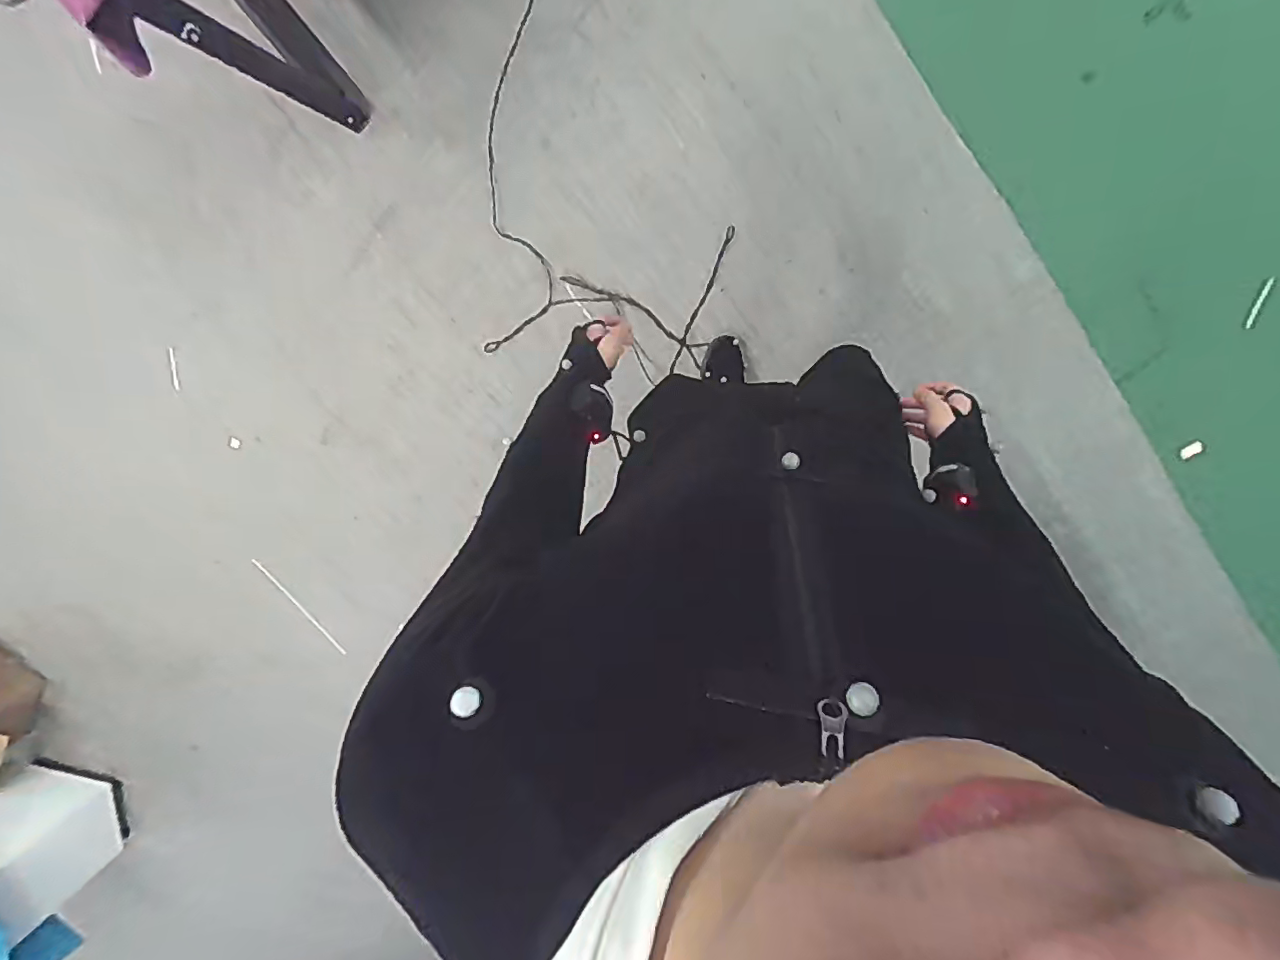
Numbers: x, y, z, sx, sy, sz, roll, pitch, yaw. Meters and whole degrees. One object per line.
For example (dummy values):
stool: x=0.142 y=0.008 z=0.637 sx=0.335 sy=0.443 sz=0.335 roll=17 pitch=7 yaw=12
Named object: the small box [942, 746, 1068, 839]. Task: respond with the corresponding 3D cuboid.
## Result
small box: x=0.738 y=0.671 z=1.067 sx=0.168 sy=0.176 sz=0.179 roll=-33 pitch=96 yaw=17
